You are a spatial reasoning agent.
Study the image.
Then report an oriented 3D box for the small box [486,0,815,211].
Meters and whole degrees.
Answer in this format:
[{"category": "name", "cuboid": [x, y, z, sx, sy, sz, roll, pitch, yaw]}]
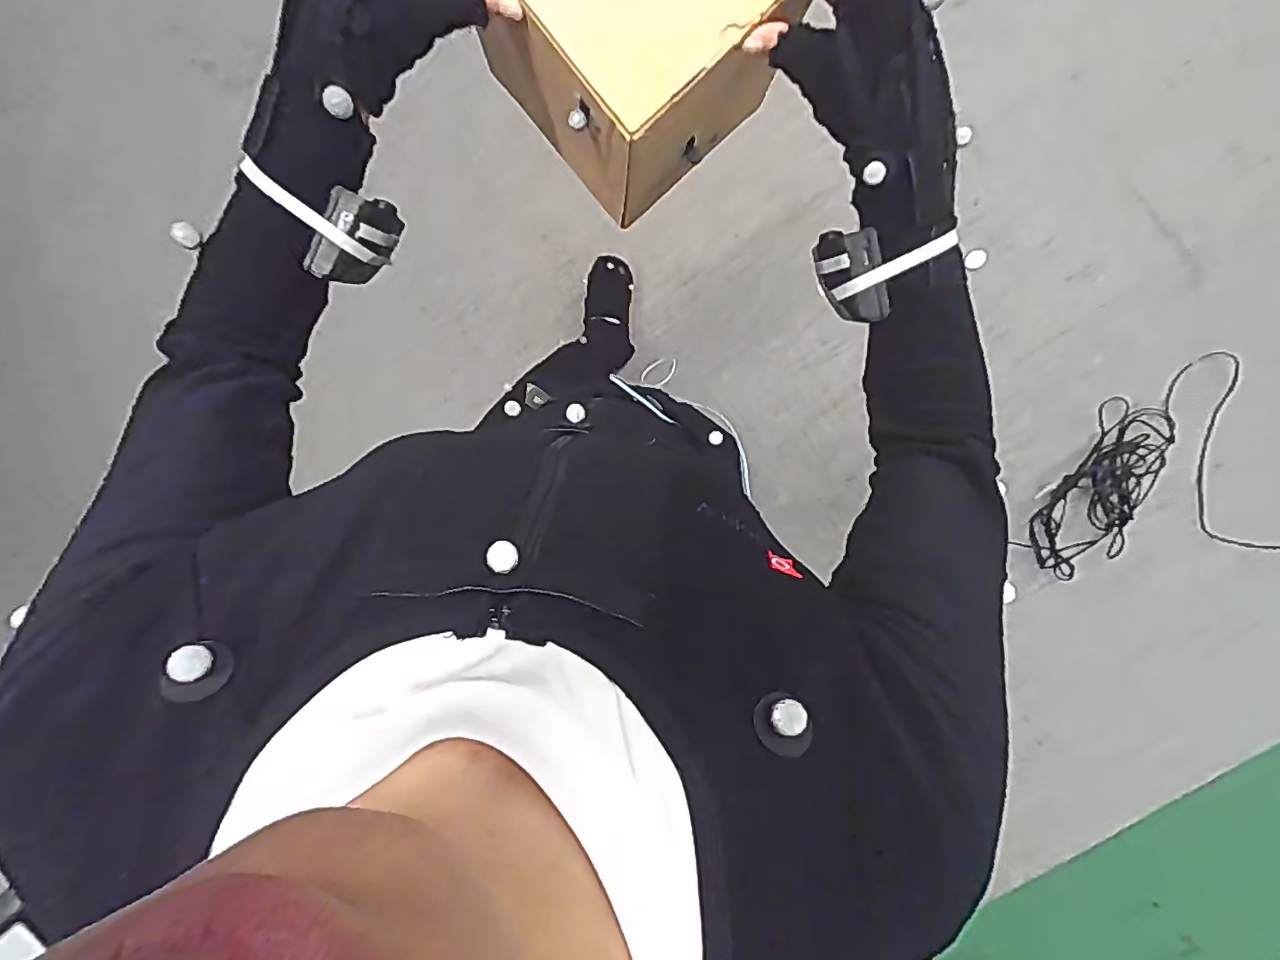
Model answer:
[{"category": "small box", "cuboid": [-0.002, -0.339, 0.395, 0.168, 0.176, 0.179, -41, 100, 2]}]
